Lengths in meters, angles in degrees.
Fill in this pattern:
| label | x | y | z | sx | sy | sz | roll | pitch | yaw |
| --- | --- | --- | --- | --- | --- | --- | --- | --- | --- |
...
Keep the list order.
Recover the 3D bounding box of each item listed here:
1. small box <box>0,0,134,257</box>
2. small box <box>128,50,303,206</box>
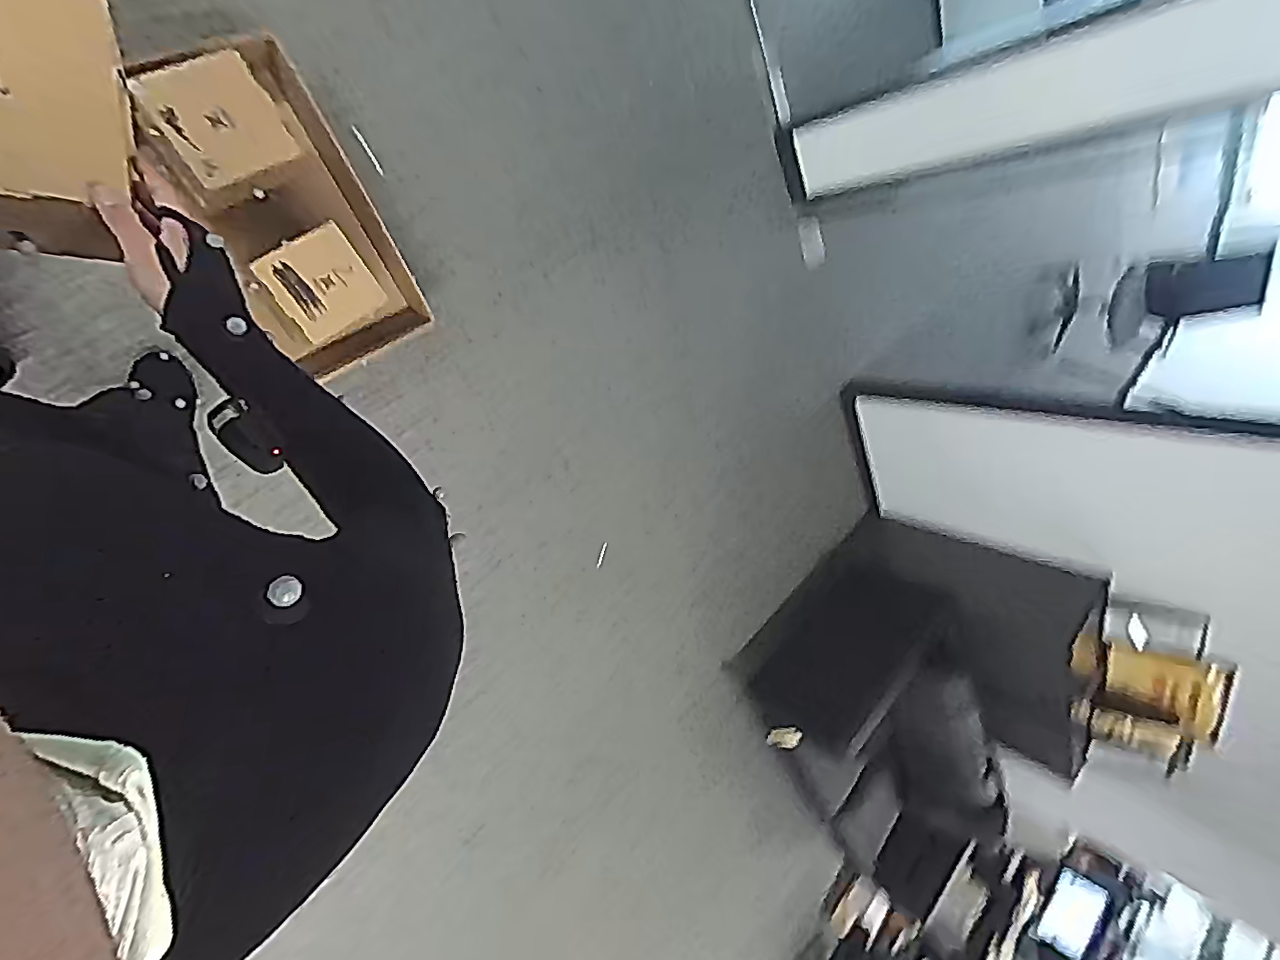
| label | x | y | z | sx | sy | sz | roll | pitch | yaw |
| --- | --- | --- | --- | --- | --- | --- | --- | --- | --- |
| small box | -0.554 | -0.311 | 0.456 | 0.168 | 0.176 | 0.179 | -8 | 98 | -38 |
| small box | -0.741 | -0.613 | 0.956 | 0.179 | 0.176 | 0.168 | -40 | 122 | -24 |
